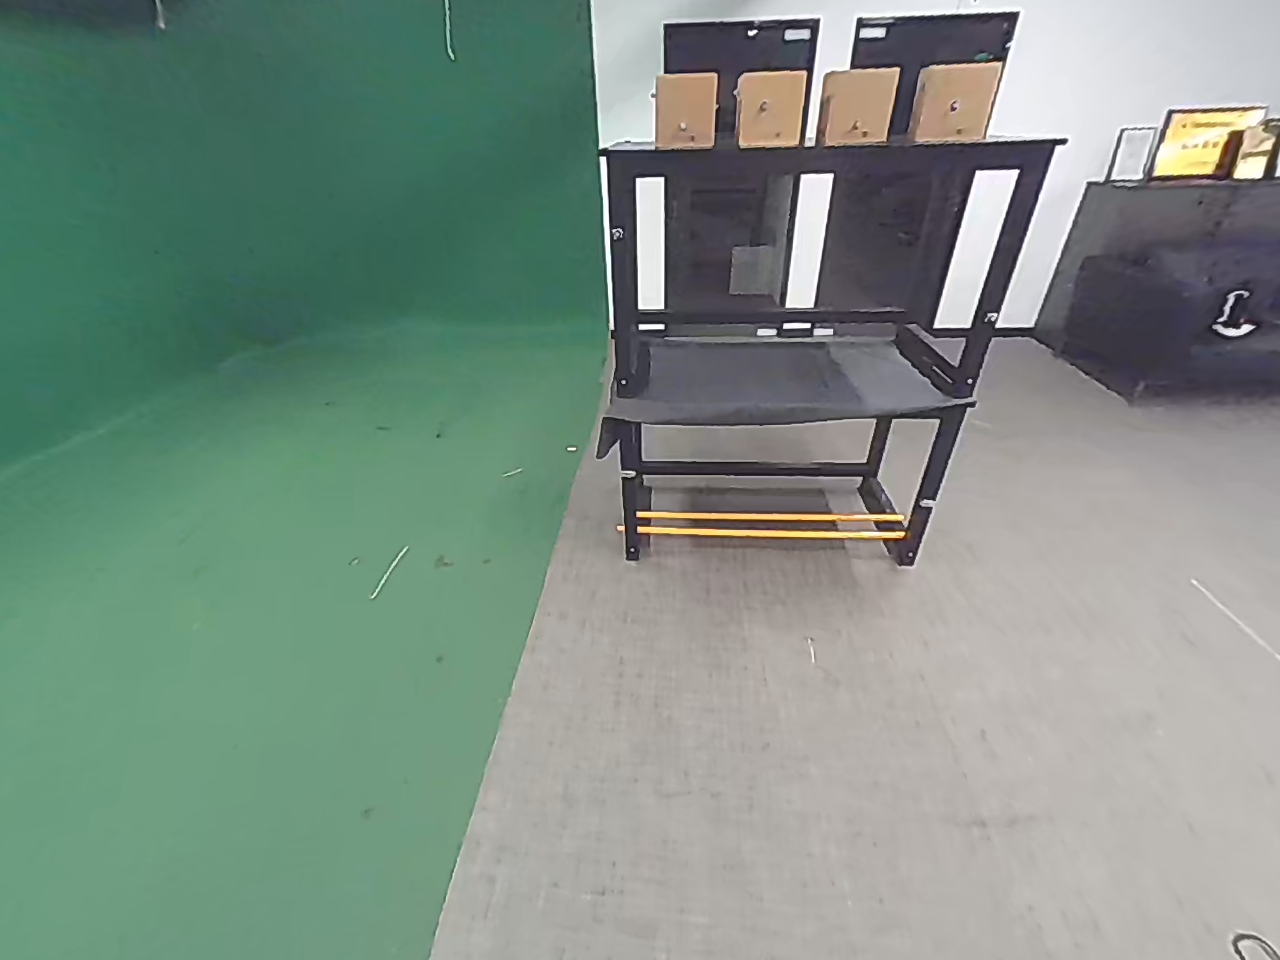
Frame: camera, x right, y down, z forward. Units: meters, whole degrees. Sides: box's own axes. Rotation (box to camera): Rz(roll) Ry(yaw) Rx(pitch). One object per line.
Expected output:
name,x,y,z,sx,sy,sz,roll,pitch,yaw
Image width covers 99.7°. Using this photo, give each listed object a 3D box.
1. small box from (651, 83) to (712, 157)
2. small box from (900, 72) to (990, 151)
small box,0.117,-1.037,1.561,0.168,0.176,0.179,0,34,2
small box,0.837,-1.018,1.501,0.168,0.176,0.179,7,34,13
